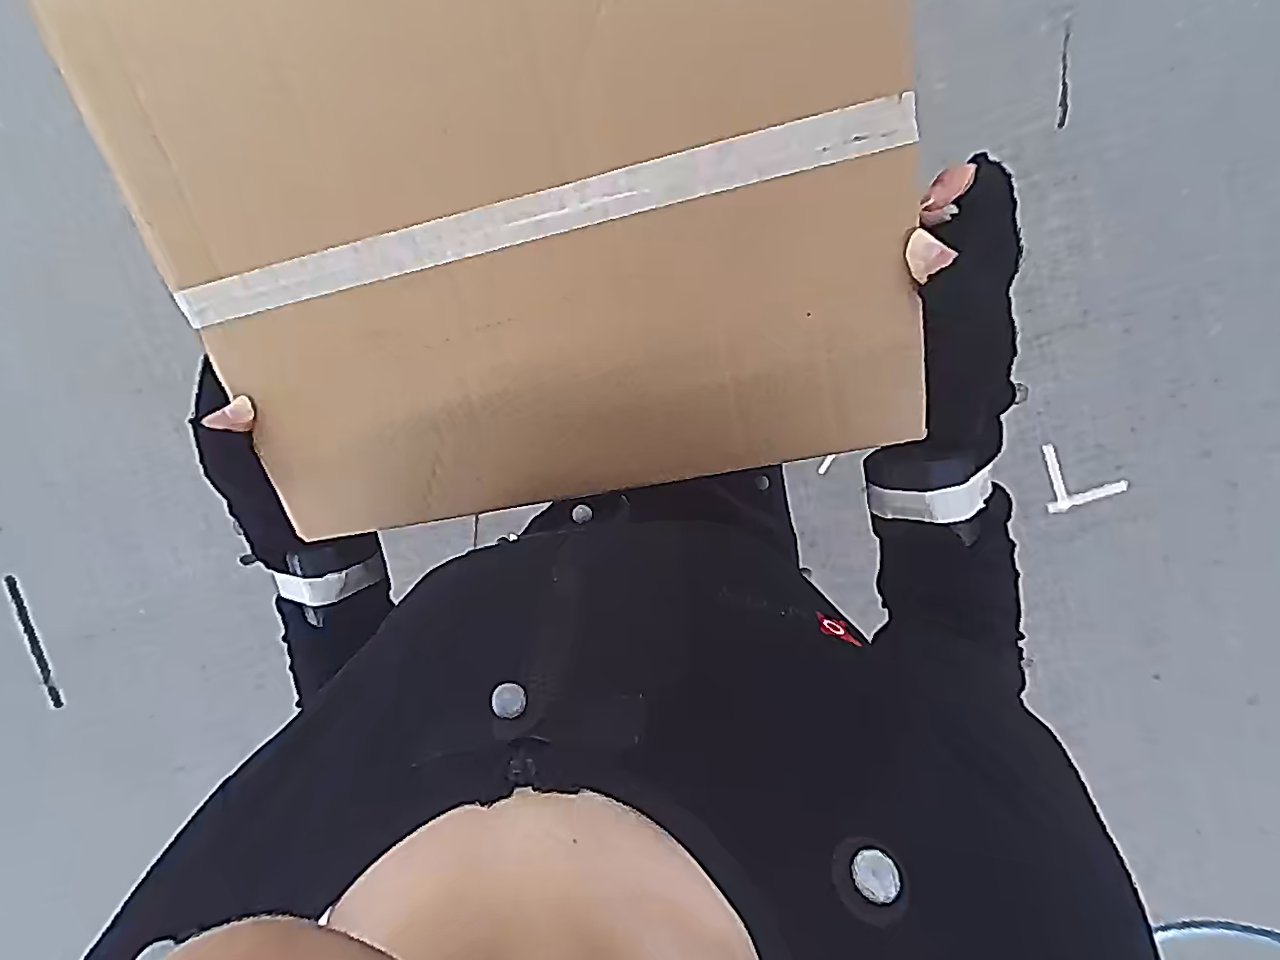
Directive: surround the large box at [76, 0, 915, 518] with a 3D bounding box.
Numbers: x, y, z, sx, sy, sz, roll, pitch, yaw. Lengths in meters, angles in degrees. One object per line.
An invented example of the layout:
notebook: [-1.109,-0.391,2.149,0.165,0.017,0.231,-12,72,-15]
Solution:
large box: [-0.054,-0.200,0.430,0.408,0.320,0.320,-10,111,9]
